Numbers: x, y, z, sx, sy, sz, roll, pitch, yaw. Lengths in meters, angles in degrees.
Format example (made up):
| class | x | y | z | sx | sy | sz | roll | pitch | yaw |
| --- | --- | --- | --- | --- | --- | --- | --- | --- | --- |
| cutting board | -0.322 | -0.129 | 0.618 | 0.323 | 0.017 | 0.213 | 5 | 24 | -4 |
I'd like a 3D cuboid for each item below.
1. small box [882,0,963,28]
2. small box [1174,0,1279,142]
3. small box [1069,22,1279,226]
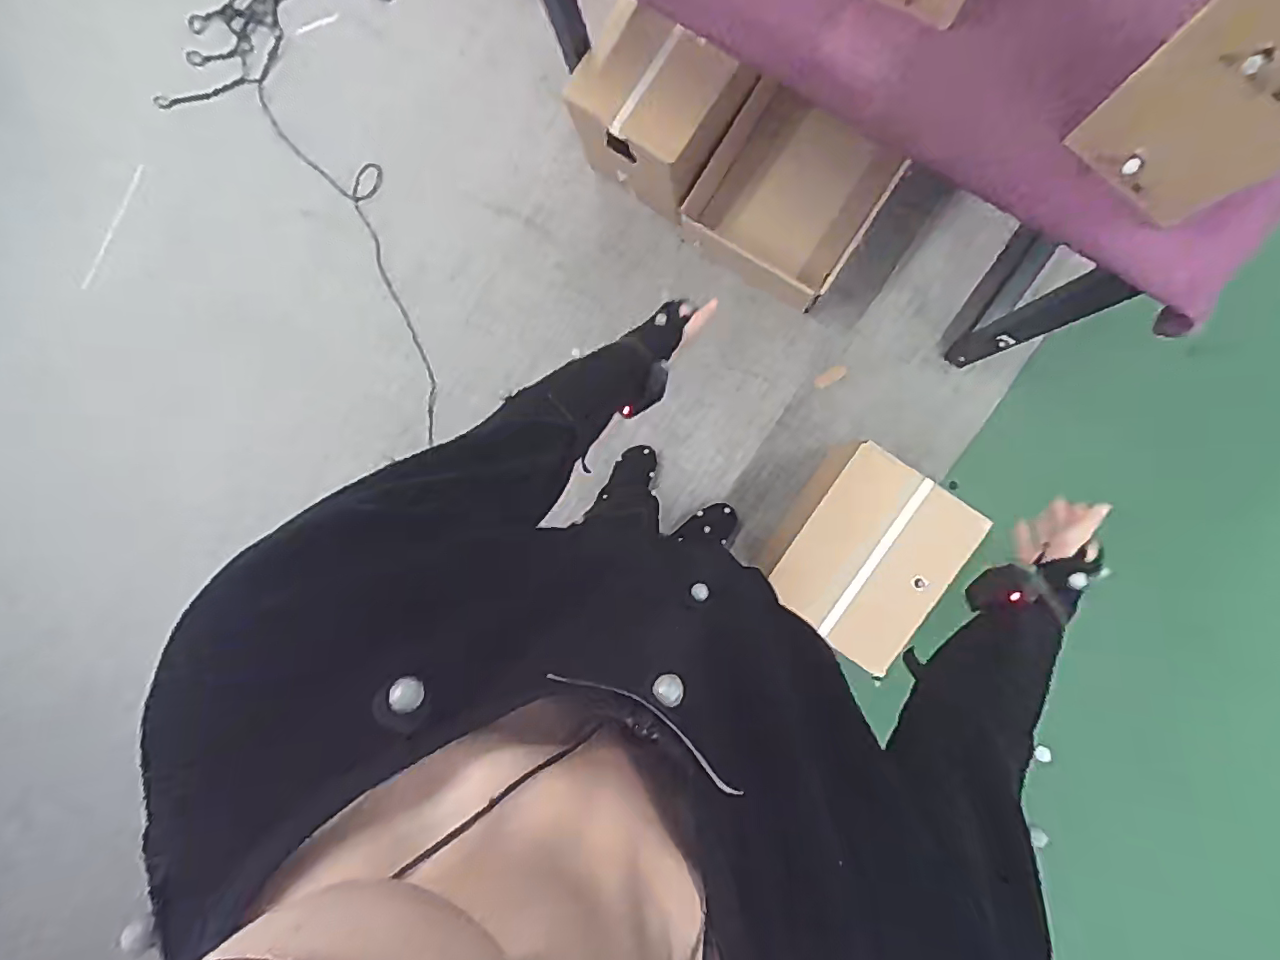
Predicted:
| class | x | y | z | sx | sy | sz | roll | pitch | yaw |
| --- | --- | --- | --- | --- | --- | --- | --- | --- | --- |
| small box | 0.354 | -0.689 | 0.624 | 0.168 | 0.176 | 0.179 | 31 | 94 | 6 |
| small box | 0.608 | -0.424 | 0.427 | 0.168 | 0.176 | 0.179 | 44 | 97 | 6 |
| small box | 0.635 | -0.424 | 0.587 | 0.179 | 0.176 | 0.168 | -44 | 84 | 7 |
